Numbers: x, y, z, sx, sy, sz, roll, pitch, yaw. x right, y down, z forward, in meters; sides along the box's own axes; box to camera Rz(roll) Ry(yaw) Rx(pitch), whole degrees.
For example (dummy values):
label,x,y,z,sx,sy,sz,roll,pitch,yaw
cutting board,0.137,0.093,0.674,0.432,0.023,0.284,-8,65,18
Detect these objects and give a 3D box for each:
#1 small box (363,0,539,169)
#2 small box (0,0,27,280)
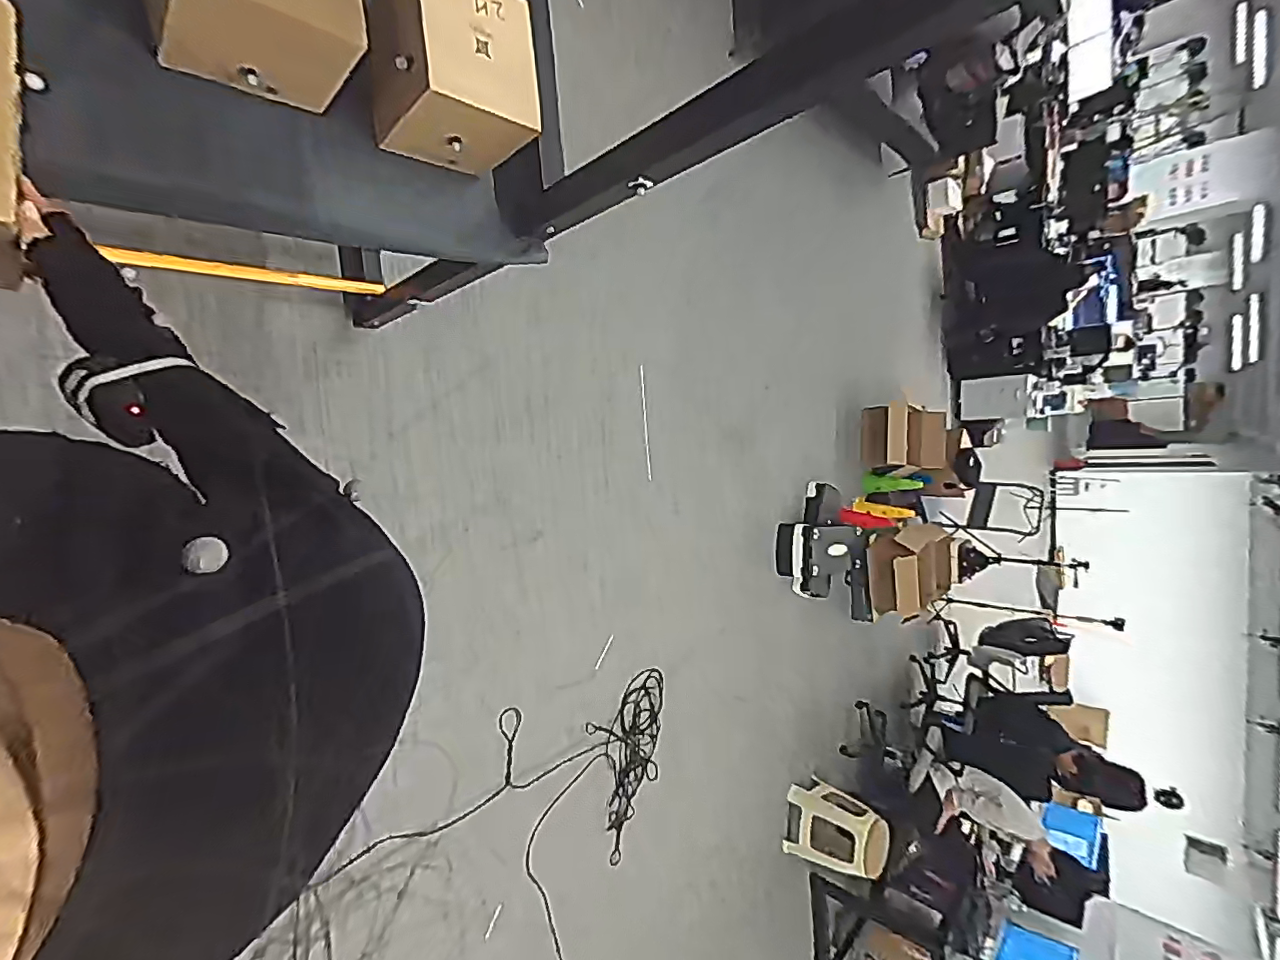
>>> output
label,x,y,z,sx,sy,sz,roll,pitch,yaw
small box,-0.264,-0.569,0.754,0.168,0.176,0.179,-12,98,-46
small box,-0.578,-0.269,0.397,0.168,0.176,0.179,-2,87,-48
